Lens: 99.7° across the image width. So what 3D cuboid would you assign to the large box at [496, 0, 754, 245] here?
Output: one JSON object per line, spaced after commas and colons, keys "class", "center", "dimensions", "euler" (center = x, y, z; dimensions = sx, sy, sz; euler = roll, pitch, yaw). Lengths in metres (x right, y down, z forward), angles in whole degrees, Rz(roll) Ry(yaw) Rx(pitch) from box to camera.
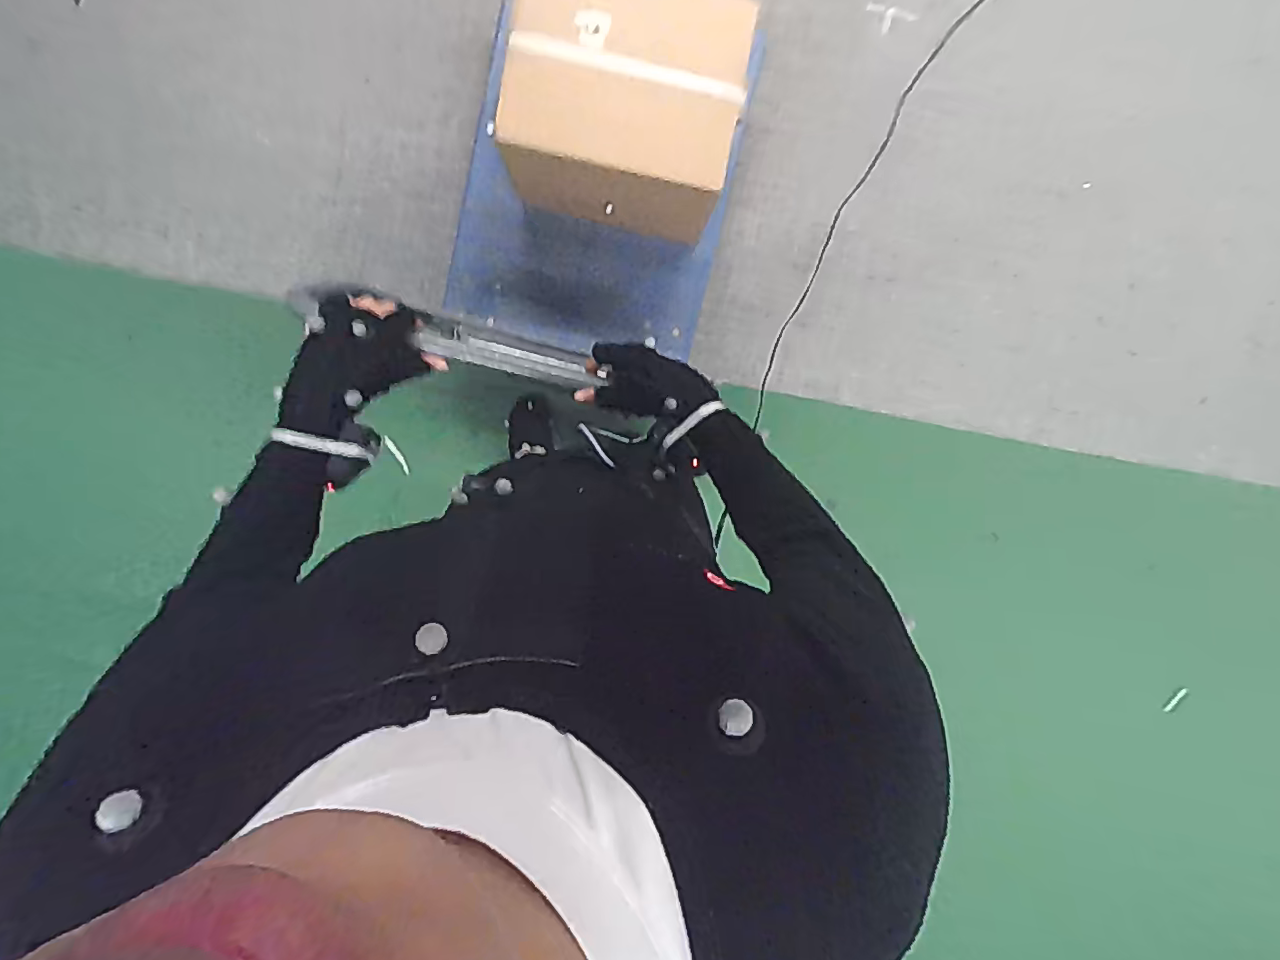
{"class": "large box", "center": [-0.030, -0.702, 1.072], "dimensions": [0.408, 0.320, 0.320], "euler": [11, 95, -4]}
